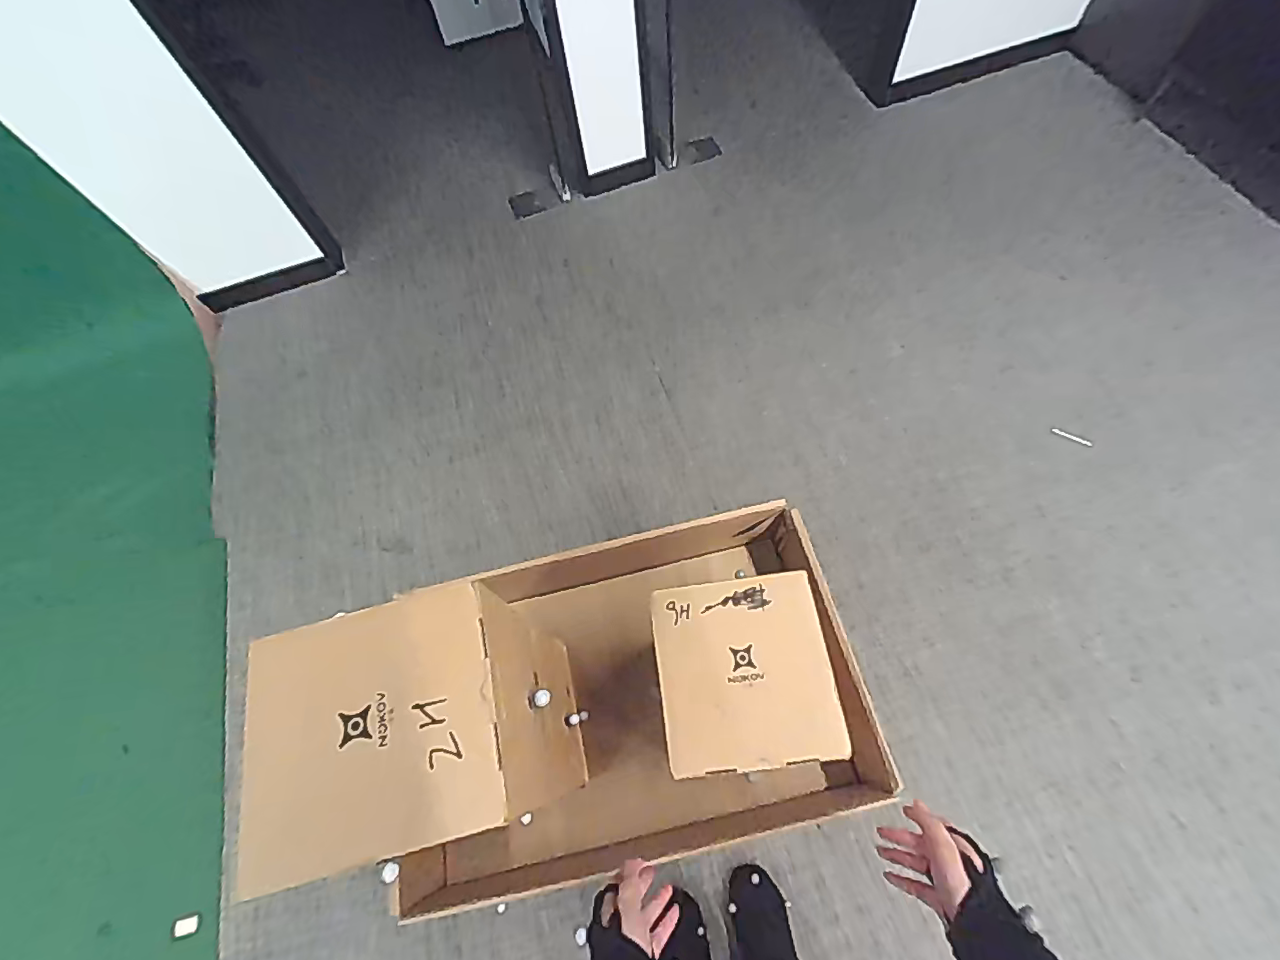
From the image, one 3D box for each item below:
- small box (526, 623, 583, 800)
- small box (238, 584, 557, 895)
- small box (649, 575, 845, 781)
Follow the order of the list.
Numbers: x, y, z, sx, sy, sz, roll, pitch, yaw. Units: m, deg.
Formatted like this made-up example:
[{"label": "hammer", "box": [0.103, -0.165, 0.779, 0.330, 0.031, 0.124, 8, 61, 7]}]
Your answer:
[{"label": "small box", "box": [-0.172, 0.273, 0.596, 0.179, 0.176, 0.168, -14, 64, -3]}, {"label": "small box", "box": [-0.181, 0.204, 0.447, 0.179, 0.176, 0.168, -14, 65, -3]}, {"label": "small box", "box": [0.104, 0.217, 0.595, 0.168, 0.176, 0.179, -7, 65, 1]}]
